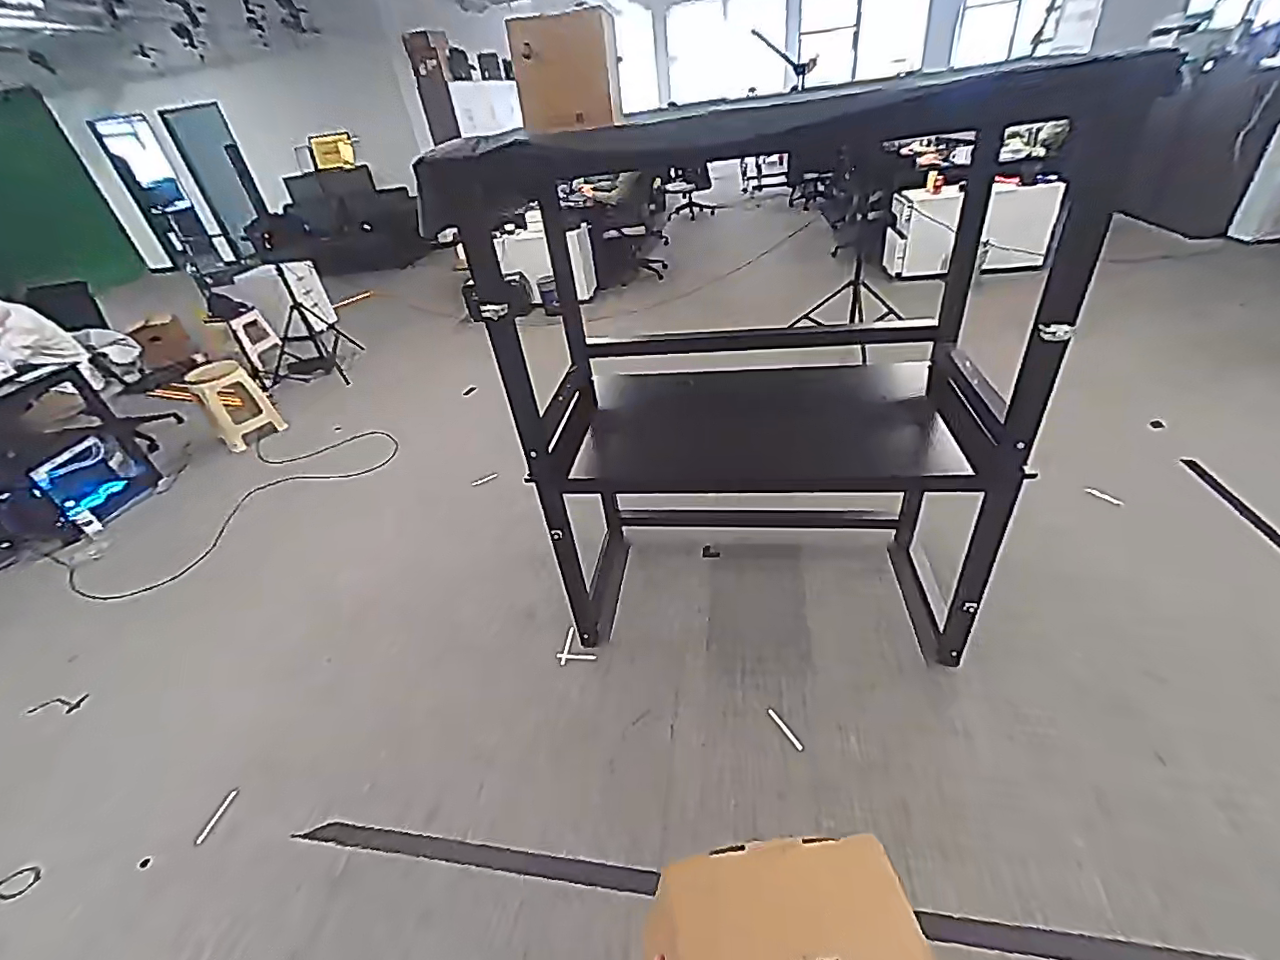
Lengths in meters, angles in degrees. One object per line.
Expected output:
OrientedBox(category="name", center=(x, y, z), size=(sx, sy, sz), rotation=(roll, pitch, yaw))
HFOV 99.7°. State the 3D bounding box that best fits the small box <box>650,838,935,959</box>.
OrientedBox(category="small box", center=(0.104, 0.384, 0.370), size=(0.168, 0.176, 0.179), rotation=(1, 34, -9))
